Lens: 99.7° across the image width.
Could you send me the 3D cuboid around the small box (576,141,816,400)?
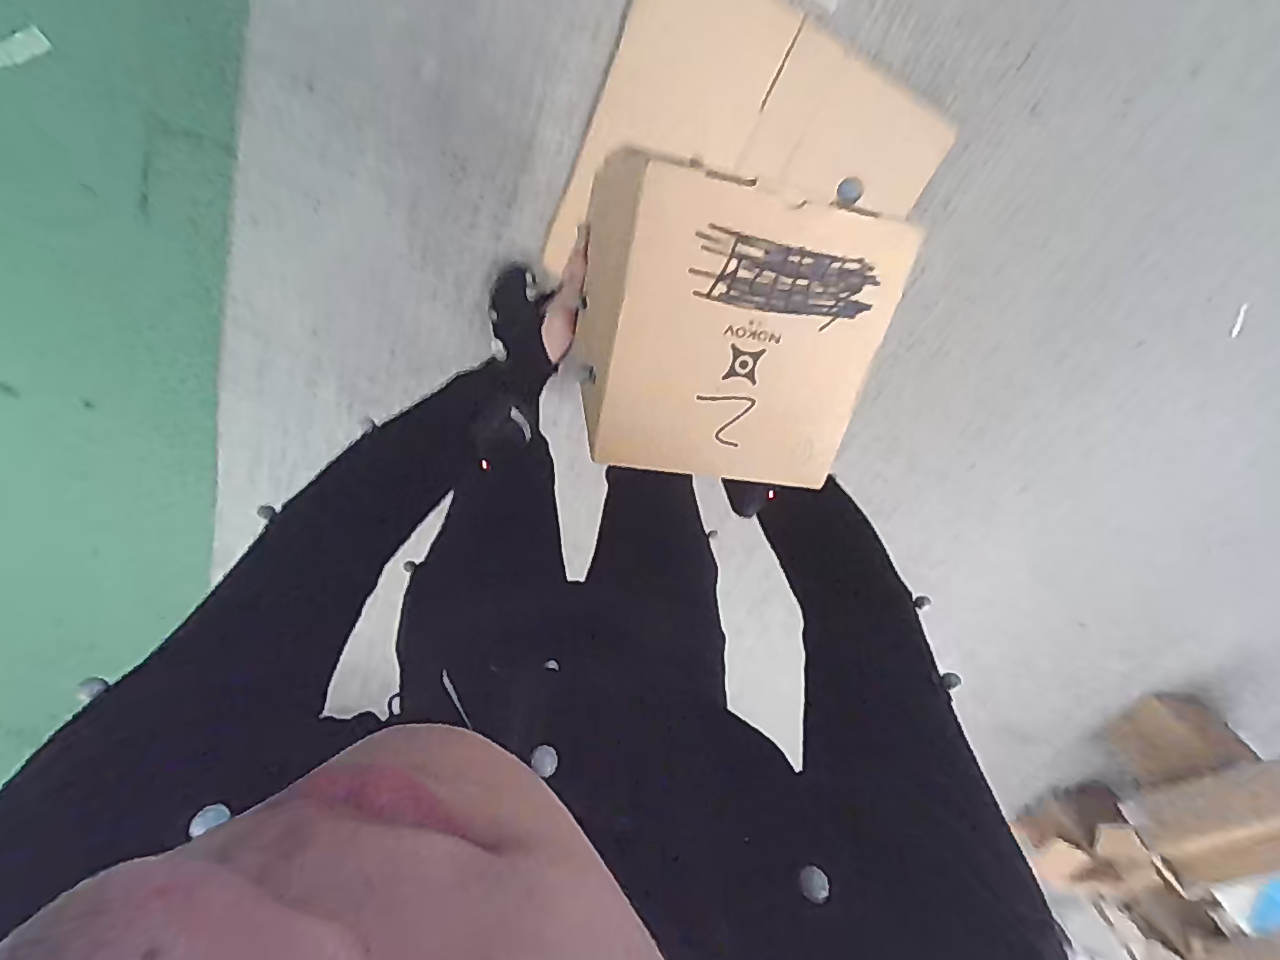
[{"bbox_3d":[0.034,-0.200,0.523,0.168,0.176,0.179,9,116,-14],"label":"small box"}]
